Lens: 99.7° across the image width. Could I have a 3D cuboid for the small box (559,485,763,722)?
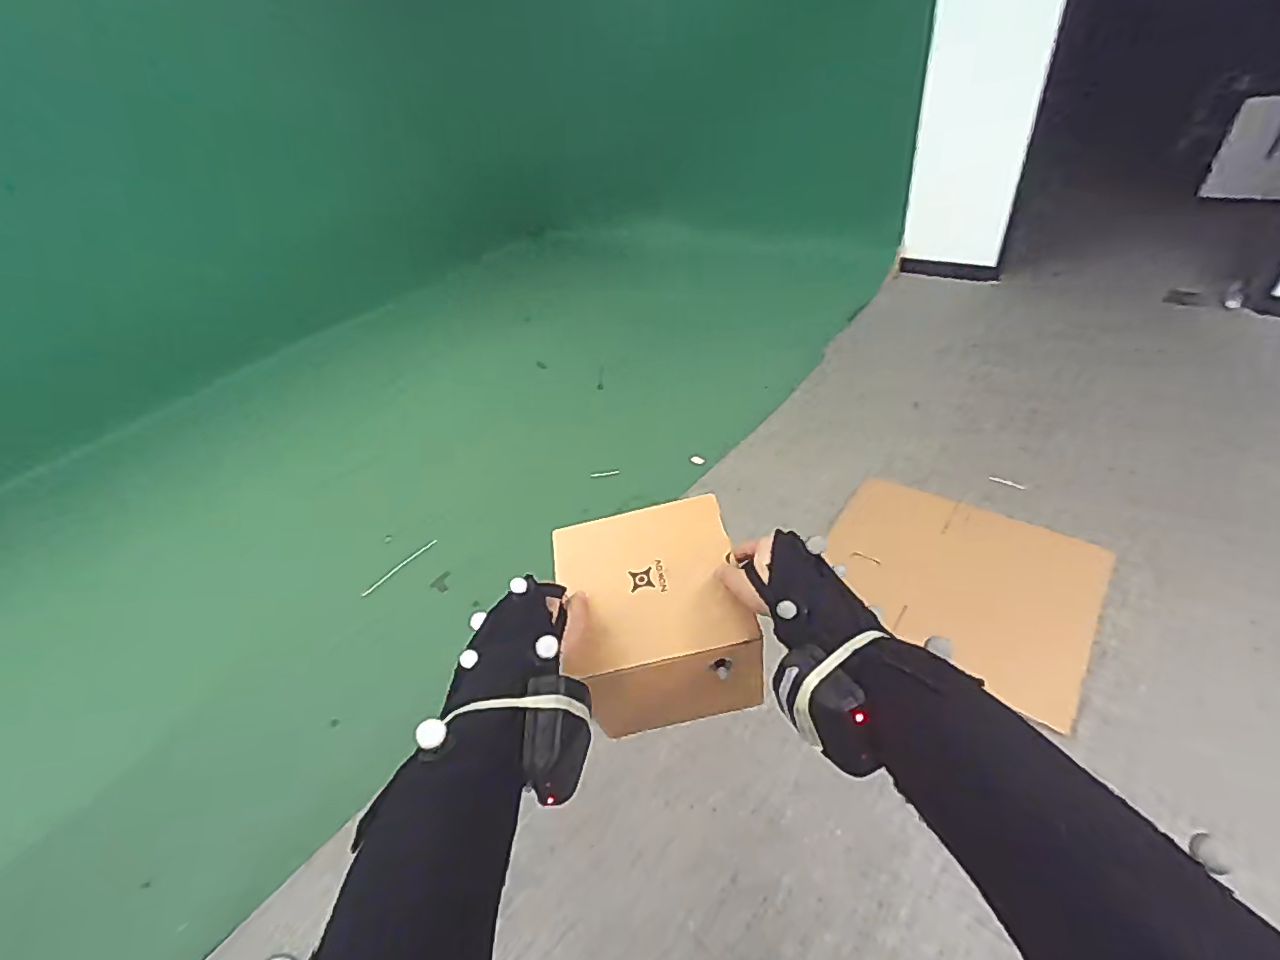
[{"bbox_3d":[0.024,0.135,0.569,0.179,0.176,0.168,-13,49,1],"label":"small box"}]
